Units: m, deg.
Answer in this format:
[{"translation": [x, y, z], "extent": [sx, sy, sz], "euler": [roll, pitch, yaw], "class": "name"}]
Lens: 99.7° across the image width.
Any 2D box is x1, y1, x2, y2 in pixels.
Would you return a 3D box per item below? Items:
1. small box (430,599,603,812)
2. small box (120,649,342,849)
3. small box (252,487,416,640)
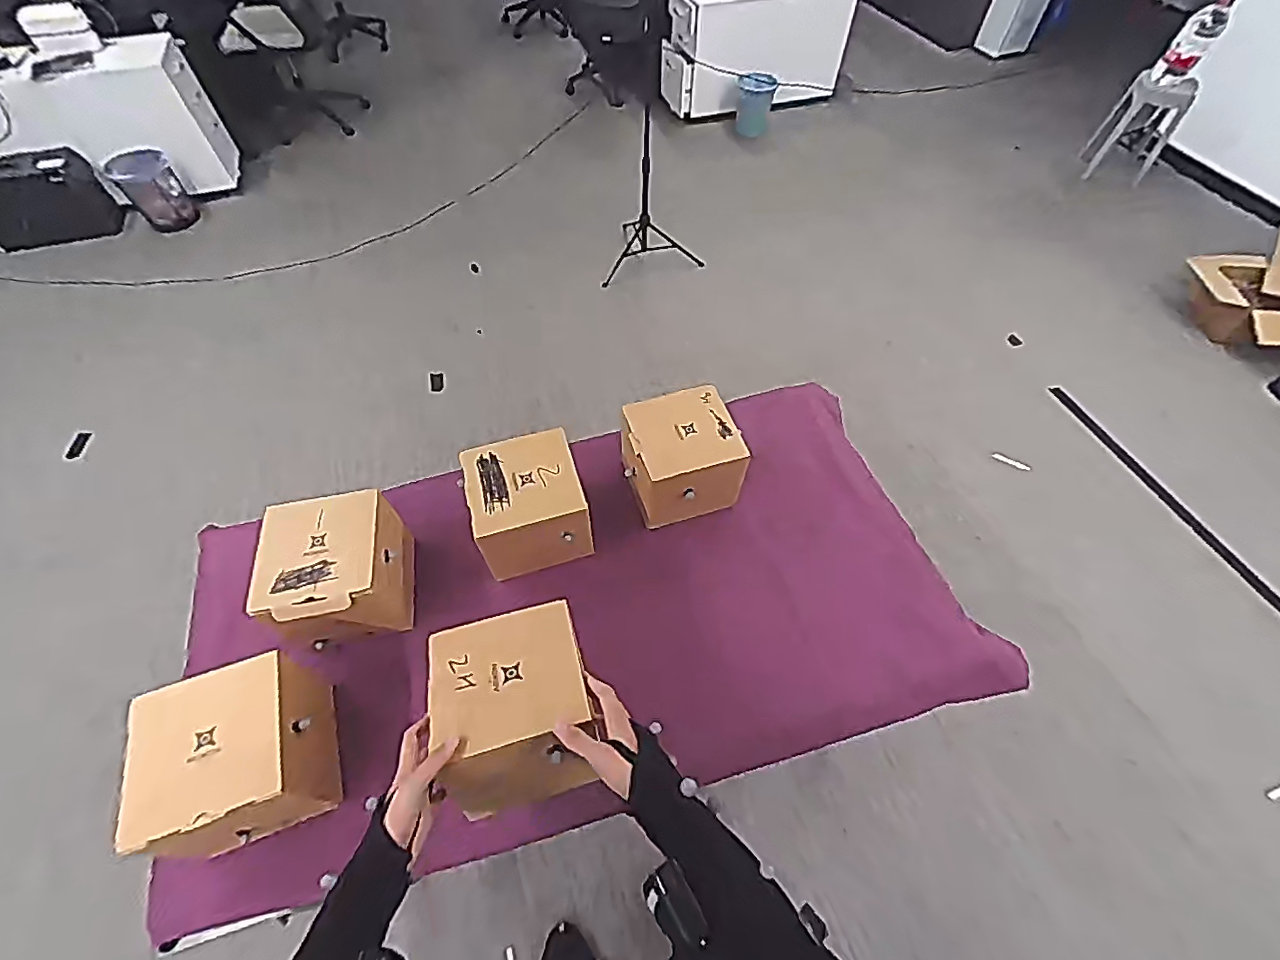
[{"translation": [-0.148, 0.281, 0.676], "extent": [0.179, 0.176, 0.168], "euler": [-14, 44, -9], "class": "small box"}, {"translation": [-0.510, 0.351, 0.701], "extent": [0.168, 0.176, 0.179], "euler": [-17, 59, -14], "class": "small box"}, {"translation": [-0.460, 0.137, 0.845], "extent": [0.168, 0.176, 0.179], "euler": [-10, 57, -7], "class": "small box"}]
